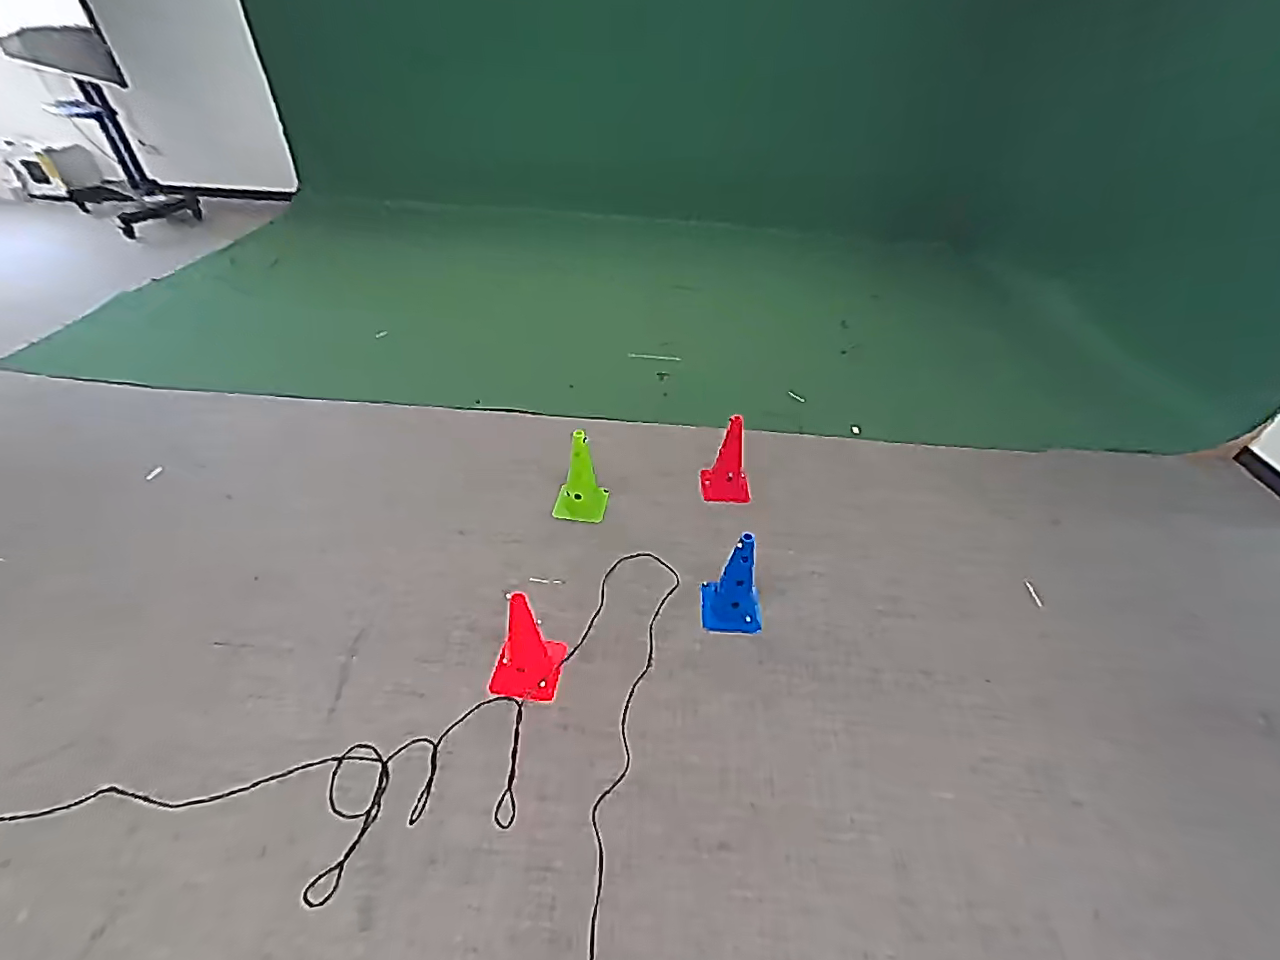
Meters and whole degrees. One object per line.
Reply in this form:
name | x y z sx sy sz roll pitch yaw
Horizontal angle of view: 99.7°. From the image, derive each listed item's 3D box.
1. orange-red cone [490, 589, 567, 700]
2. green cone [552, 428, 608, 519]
orange-red cone | -0.327 0.433 1.533 0.198 0.360 0.199 8 40 4
green cone | -0.236 -0.048 2.077 0.200 0.368 0.202 6 43 3
